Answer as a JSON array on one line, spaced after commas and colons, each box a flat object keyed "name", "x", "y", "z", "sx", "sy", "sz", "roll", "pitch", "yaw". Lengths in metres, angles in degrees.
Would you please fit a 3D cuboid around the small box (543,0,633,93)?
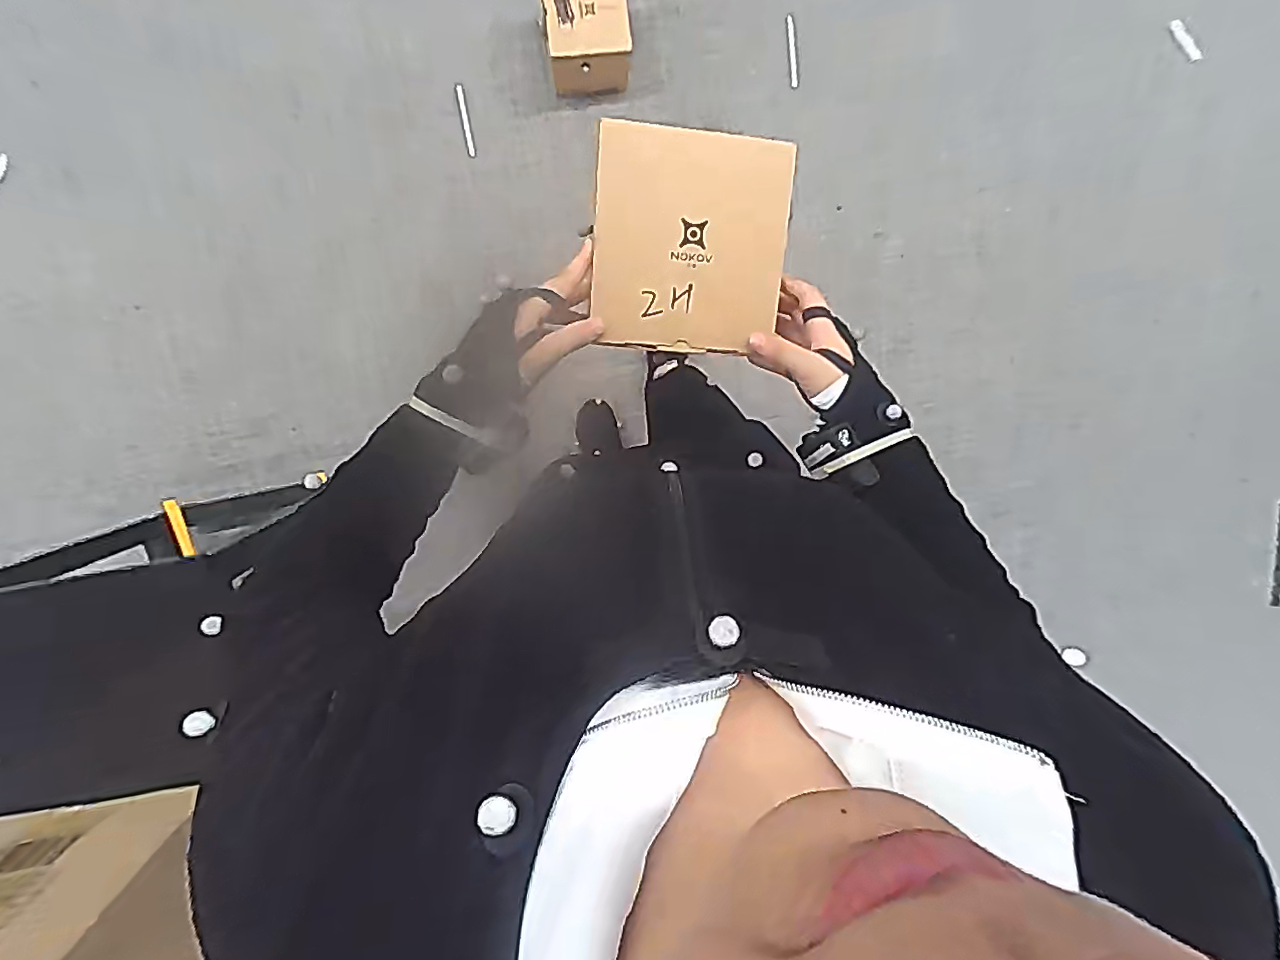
[{"name": "small box", "x": -0.114, "y": -0.981, "z": 1.187, "sx": 0.179, "sy": 0.176, "sz": 0.168, "roll": -7, "pitch": 103, "yaw": -3}]

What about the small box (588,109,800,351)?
[{"name": "small box", "x": 0.037, "y": -0.223, "z": 0.533, "sx": 0.168, "sy": 0.176, "sz": 0.179, "roll": 3, "pitch": 103, "yaw": -7}]
